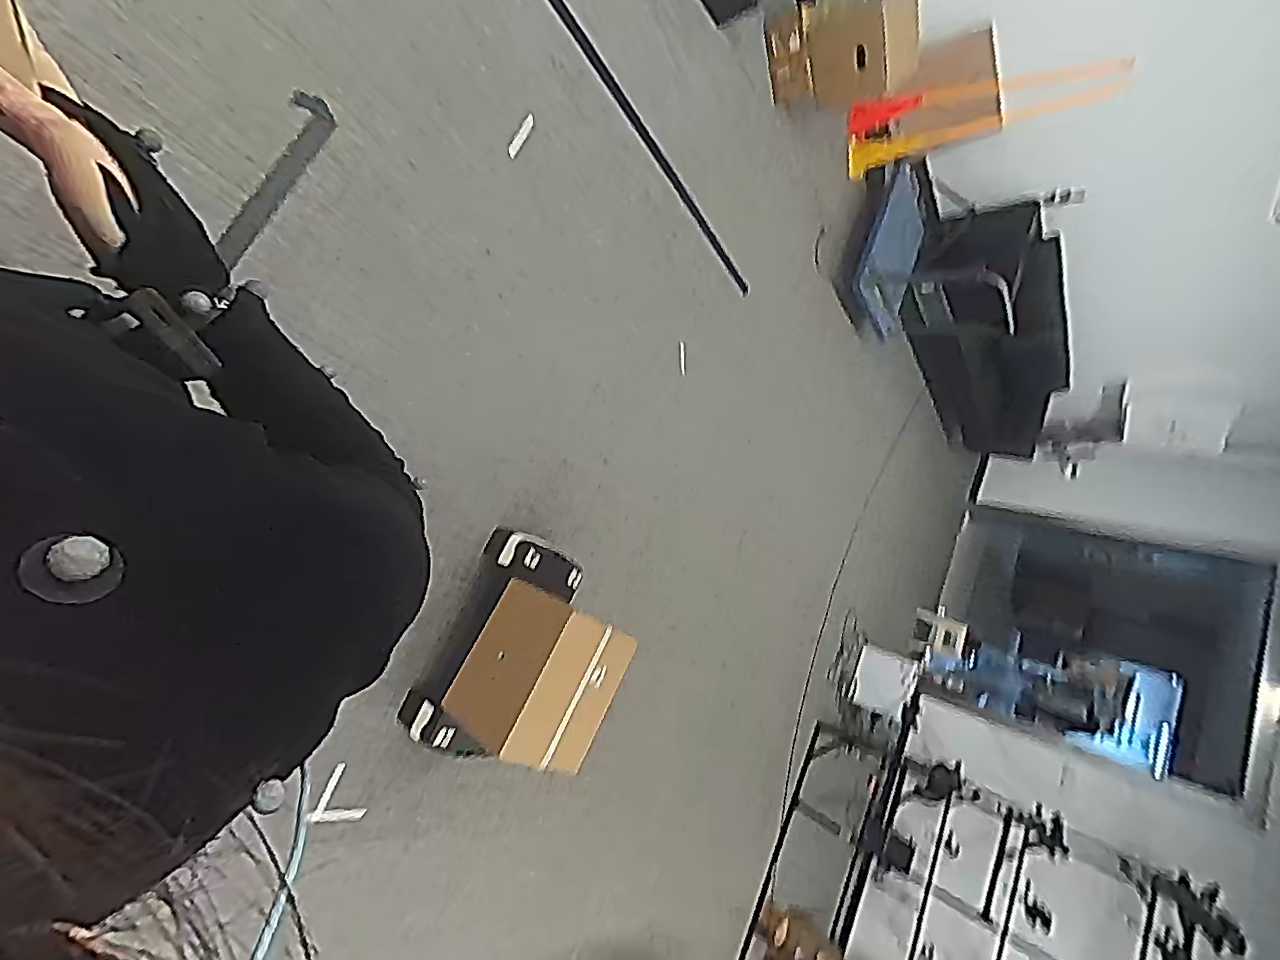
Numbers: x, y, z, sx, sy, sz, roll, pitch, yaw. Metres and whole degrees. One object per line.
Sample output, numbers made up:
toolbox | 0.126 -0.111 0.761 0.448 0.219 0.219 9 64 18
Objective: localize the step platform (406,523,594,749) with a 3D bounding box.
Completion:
step platform | -0.423 0.491 1.737 0.286 0.204 0.684 44 67 -42

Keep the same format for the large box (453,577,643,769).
large box | -0.263 0.550 1.569 0.320 0.320 0.408 42 68 -43
